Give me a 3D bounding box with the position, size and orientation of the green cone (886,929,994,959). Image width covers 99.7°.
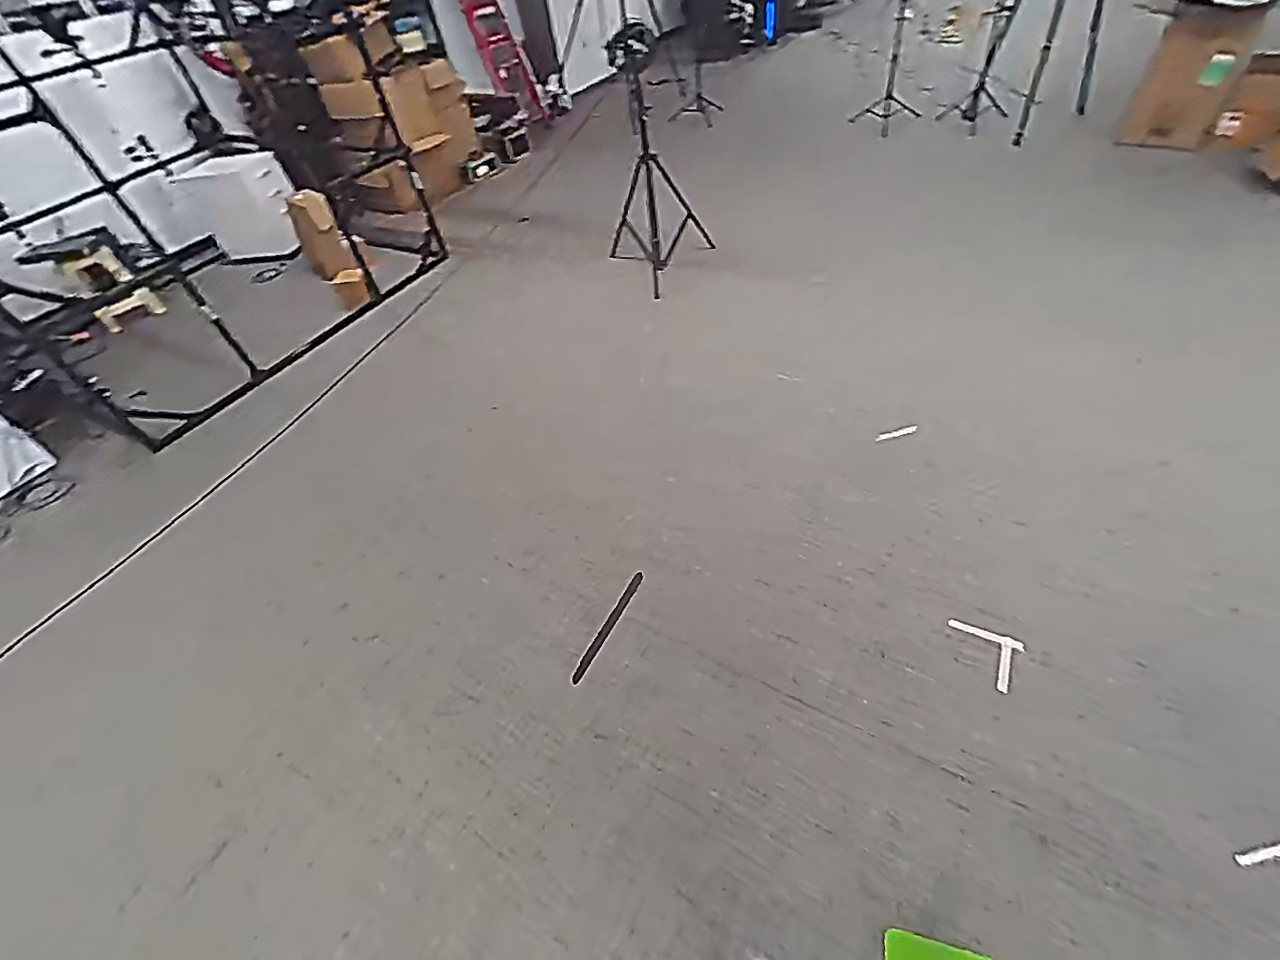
[{"bbox_3d":[0.530,0.837,0.848,0.200,0.368,0.202,6,48,16],"label":"green cone"}]
